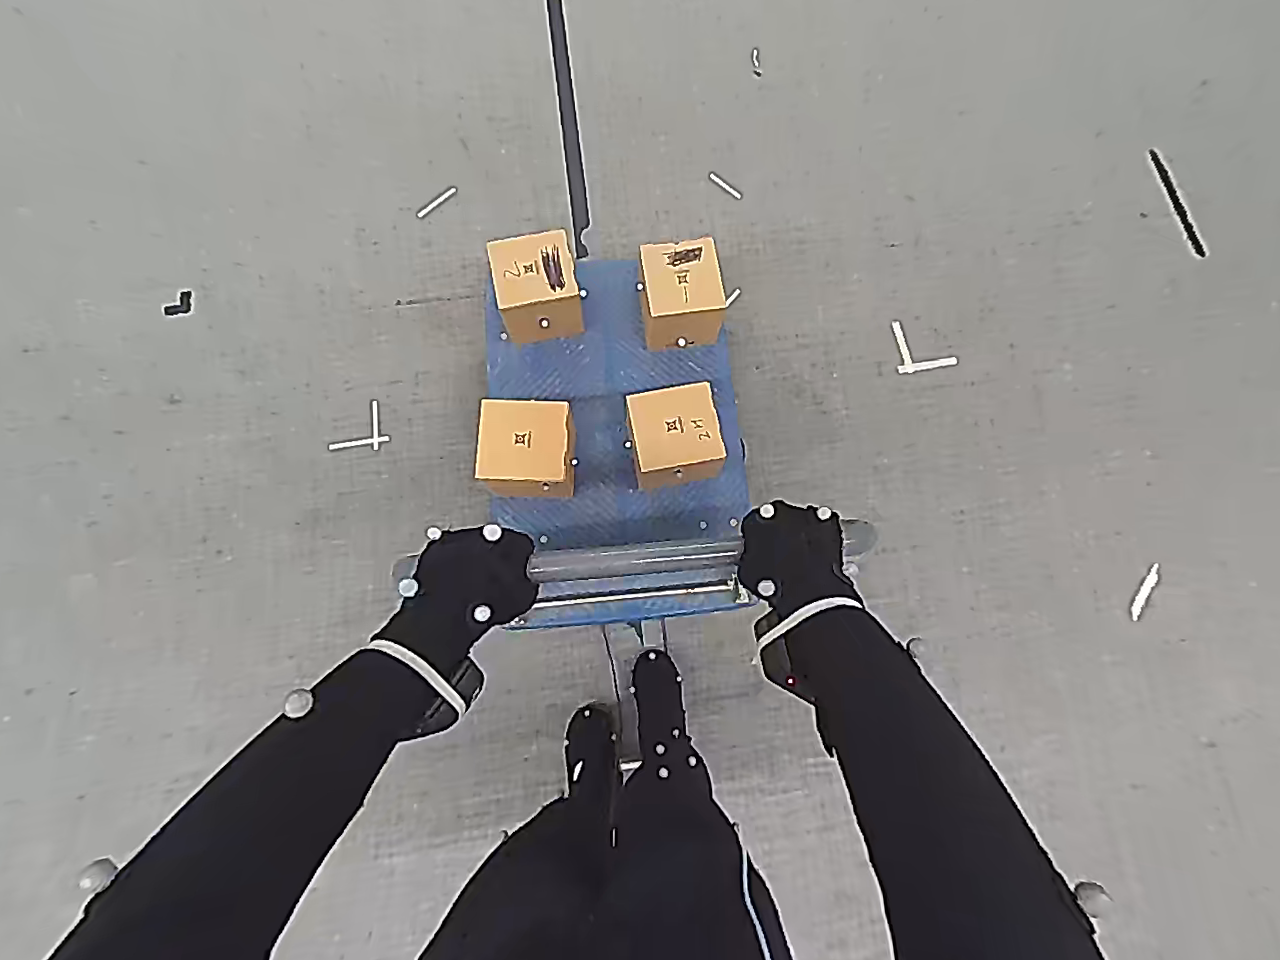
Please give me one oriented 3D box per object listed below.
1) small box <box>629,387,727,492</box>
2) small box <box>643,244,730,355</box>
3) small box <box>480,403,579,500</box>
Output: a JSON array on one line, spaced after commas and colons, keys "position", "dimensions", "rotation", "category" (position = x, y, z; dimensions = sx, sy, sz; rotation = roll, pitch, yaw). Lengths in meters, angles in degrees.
[{"position": [0.076, -0.080, 1.165], "dimensions": [0.179, 0.176, 0.168], "rotation": [-10, 77, -4], "category": "small box"}, {"position": [0.098, -0.410, 1.245], "dimensions": [0.168, 0.176, 0.179], "rotation": [-7, 78, -3], "category": "small box"}, {"position": [-0.227, -0.055, 1.152], "dimensions": [0.179, 0.176, 0.168], "rotation": [2, 76, -3], "category": "small box"}]
